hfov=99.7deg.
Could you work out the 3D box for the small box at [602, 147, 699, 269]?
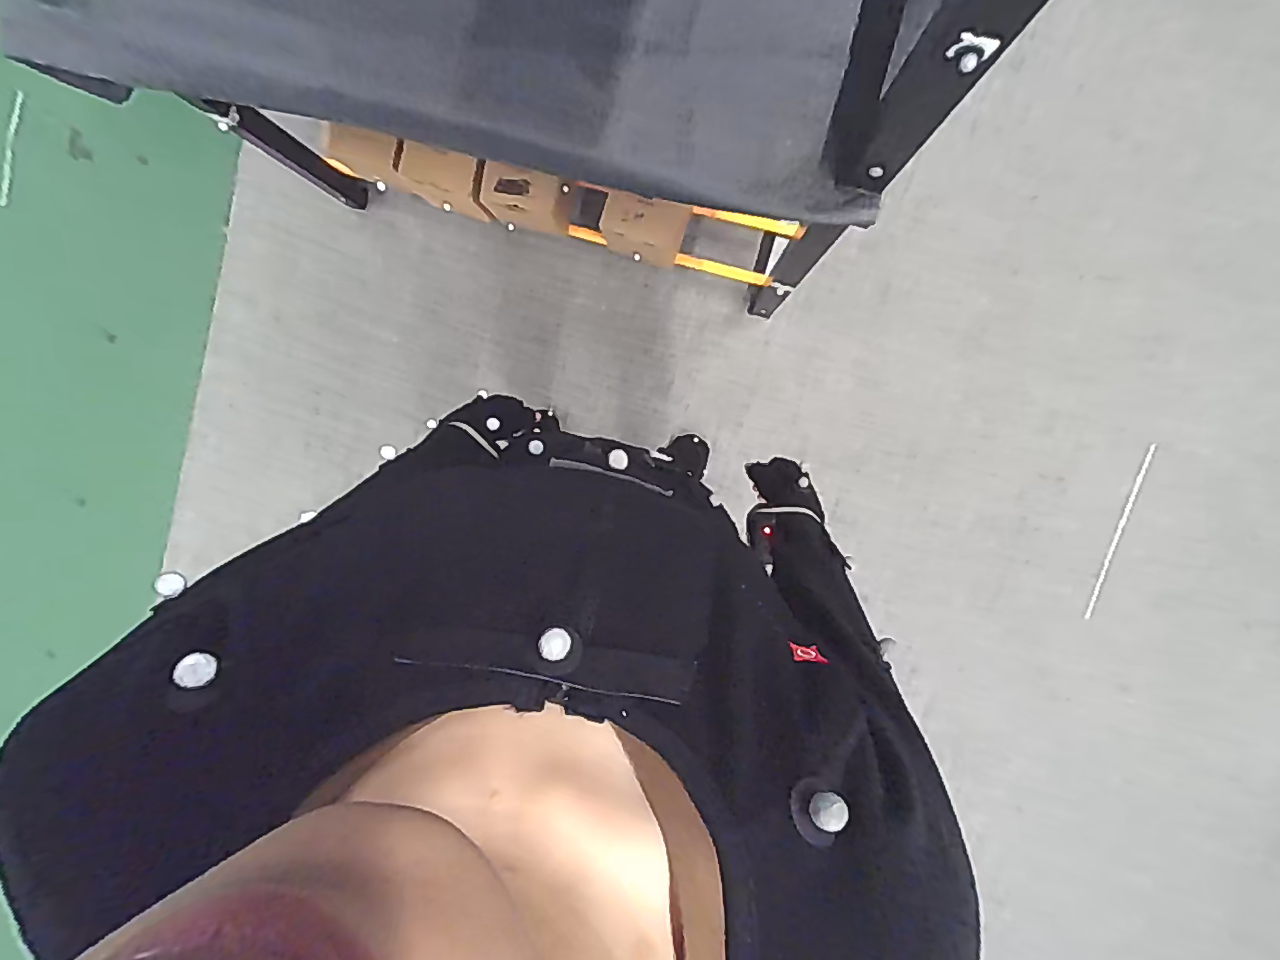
[{"bbox_3d":[0.027,-0.611,1.234,0.168,0.176,0.179,20,99,2],"label":"small box"}]
